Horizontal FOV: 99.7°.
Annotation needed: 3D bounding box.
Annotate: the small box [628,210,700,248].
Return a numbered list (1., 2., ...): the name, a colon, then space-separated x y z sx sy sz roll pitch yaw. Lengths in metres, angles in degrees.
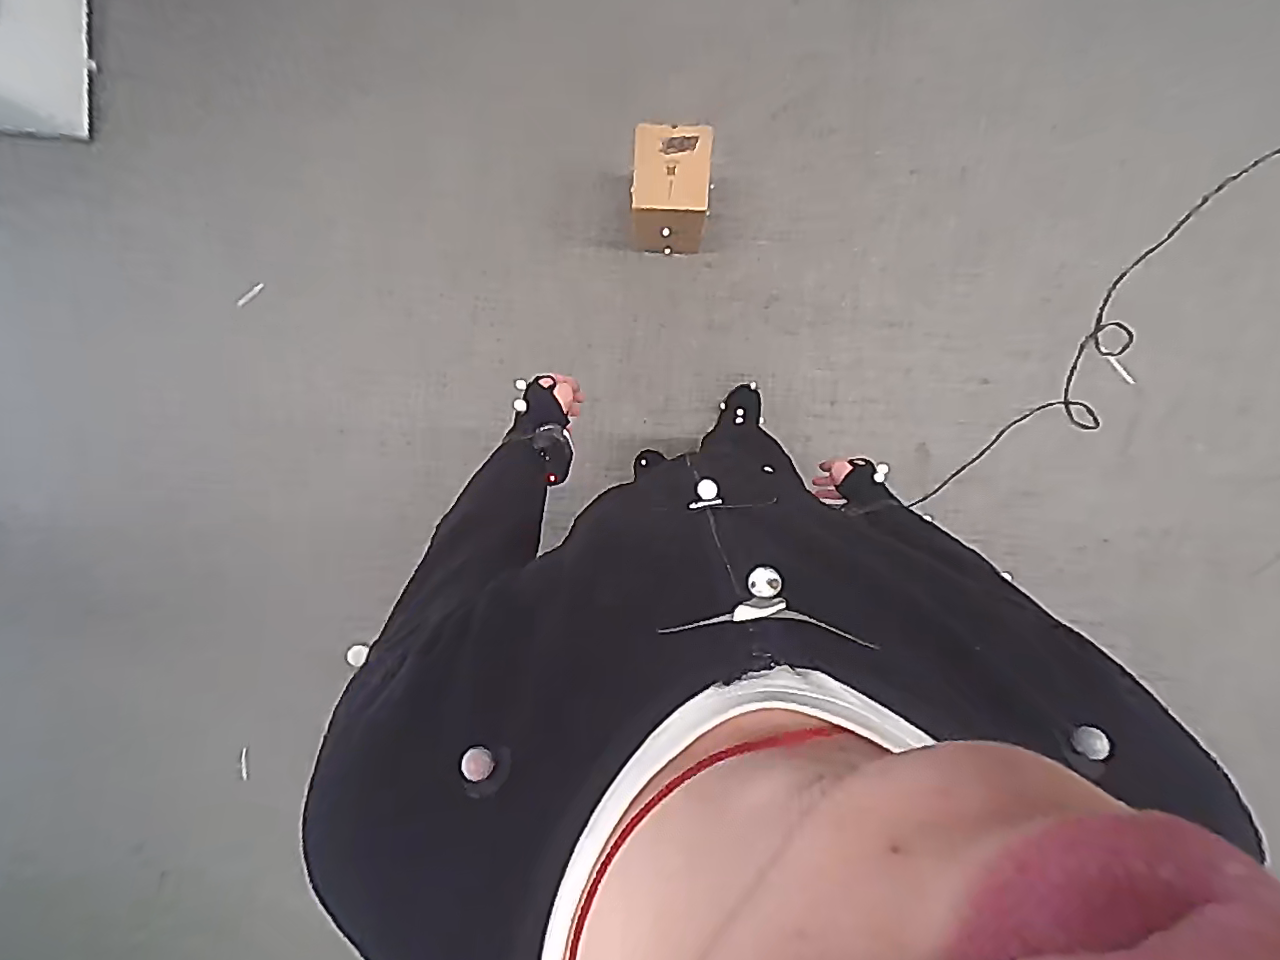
1. small box: 0.065 -0.715 1.399 0.179 0.176 0.168 4 96 1

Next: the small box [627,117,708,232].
1. small box: 0.061 -0.690 1.236 0.168 0.176 0.179 3 97 2
